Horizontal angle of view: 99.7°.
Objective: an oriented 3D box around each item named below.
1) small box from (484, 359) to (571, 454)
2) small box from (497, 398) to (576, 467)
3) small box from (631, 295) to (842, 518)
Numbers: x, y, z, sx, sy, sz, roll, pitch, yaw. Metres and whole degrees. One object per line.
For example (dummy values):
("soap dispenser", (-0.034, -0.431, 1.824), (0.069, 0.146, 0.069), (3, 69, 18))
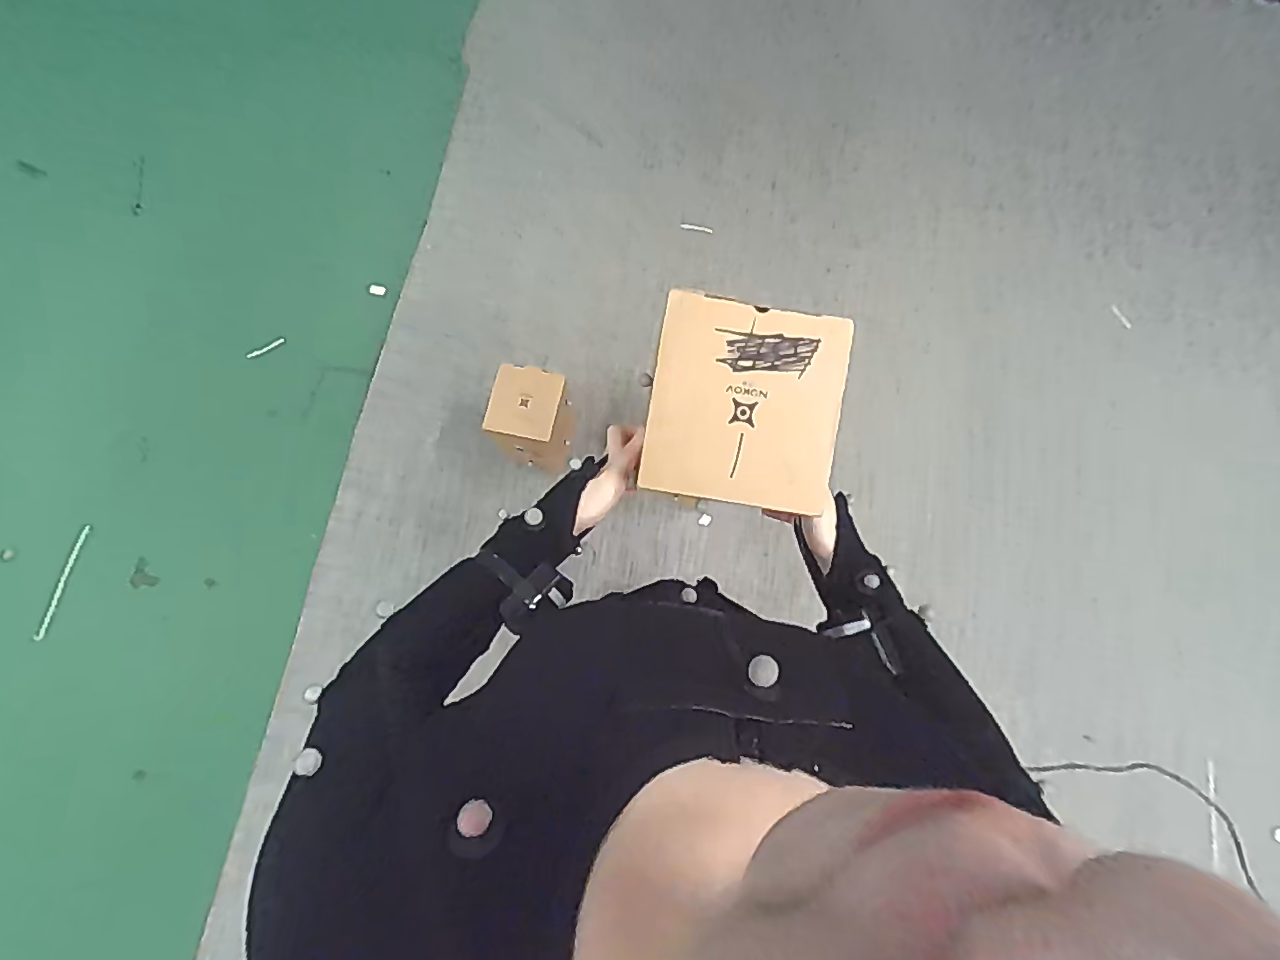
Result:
("small box", (-0.276, -0.180, 1.375), (0.168, 0.176, 0.179), (11, 79, 2))
("small box", (-0.284, -0.149, 1.535), (0.168, 0.176, 0.179), (15, 79, 1))
("small box", (0.084, -0.066, 0.559), (0.168, 0.176, 0.179), (10, 91, -1))
